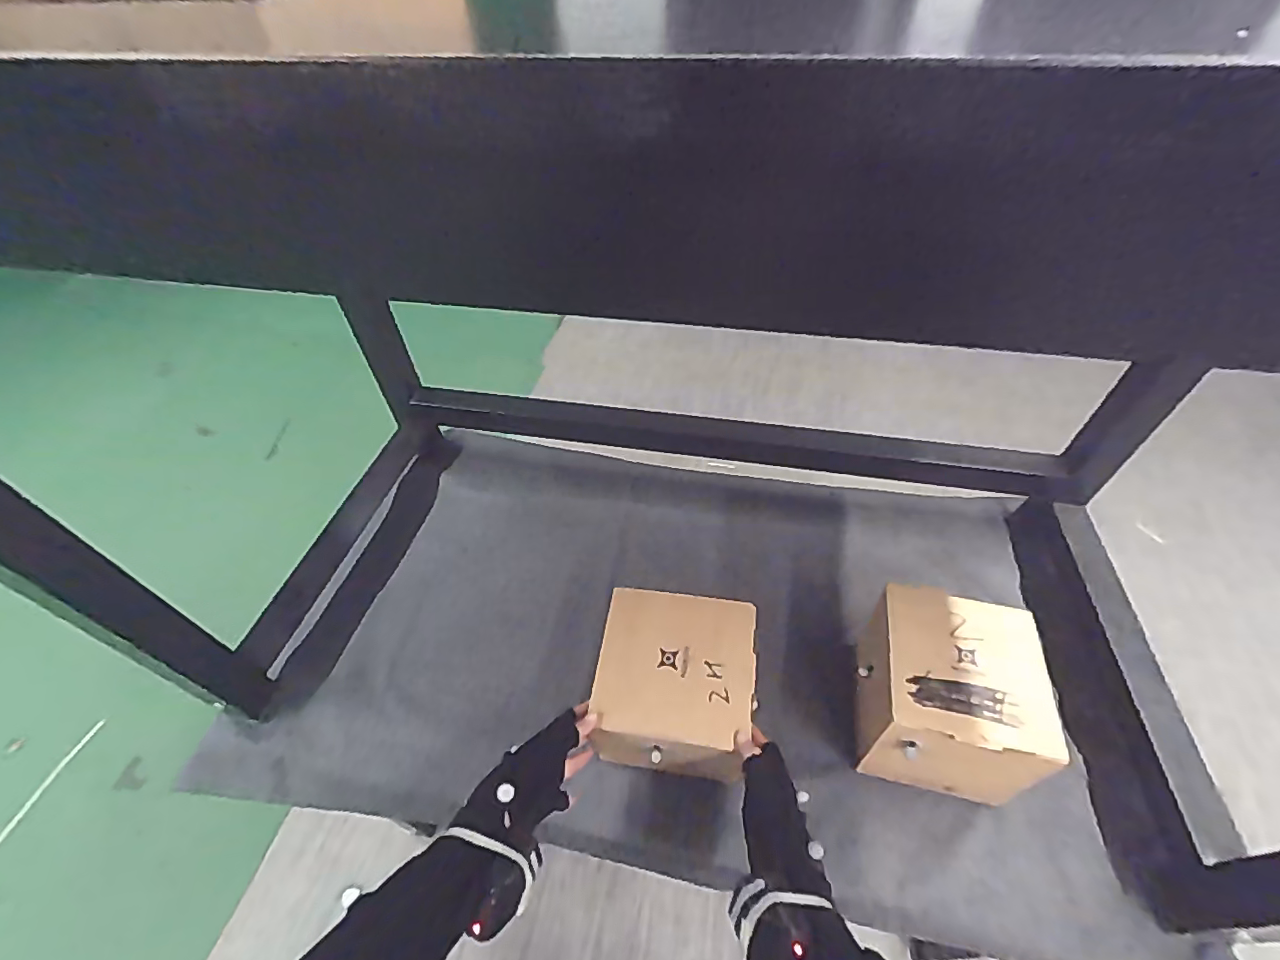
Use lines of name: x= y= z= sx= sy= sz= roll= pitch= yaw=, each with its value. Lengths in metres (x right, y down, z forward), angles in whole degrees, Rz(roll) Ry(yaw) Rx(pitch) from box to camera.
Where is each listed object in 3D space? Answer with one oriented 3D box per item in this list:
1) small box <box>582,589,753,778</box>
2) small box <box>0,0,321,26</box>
small box: x=0.042 y=0.256 z=0.673 sx=0.179 sy=0.176 sz=0.168 roll=6 pitch=53 yaw=9
small box: x=-0.199 y=-0.285 z=0.197 sx=0.168 sy=0.176 sz=0.179 roll=6 pitch=47 yaw=8
